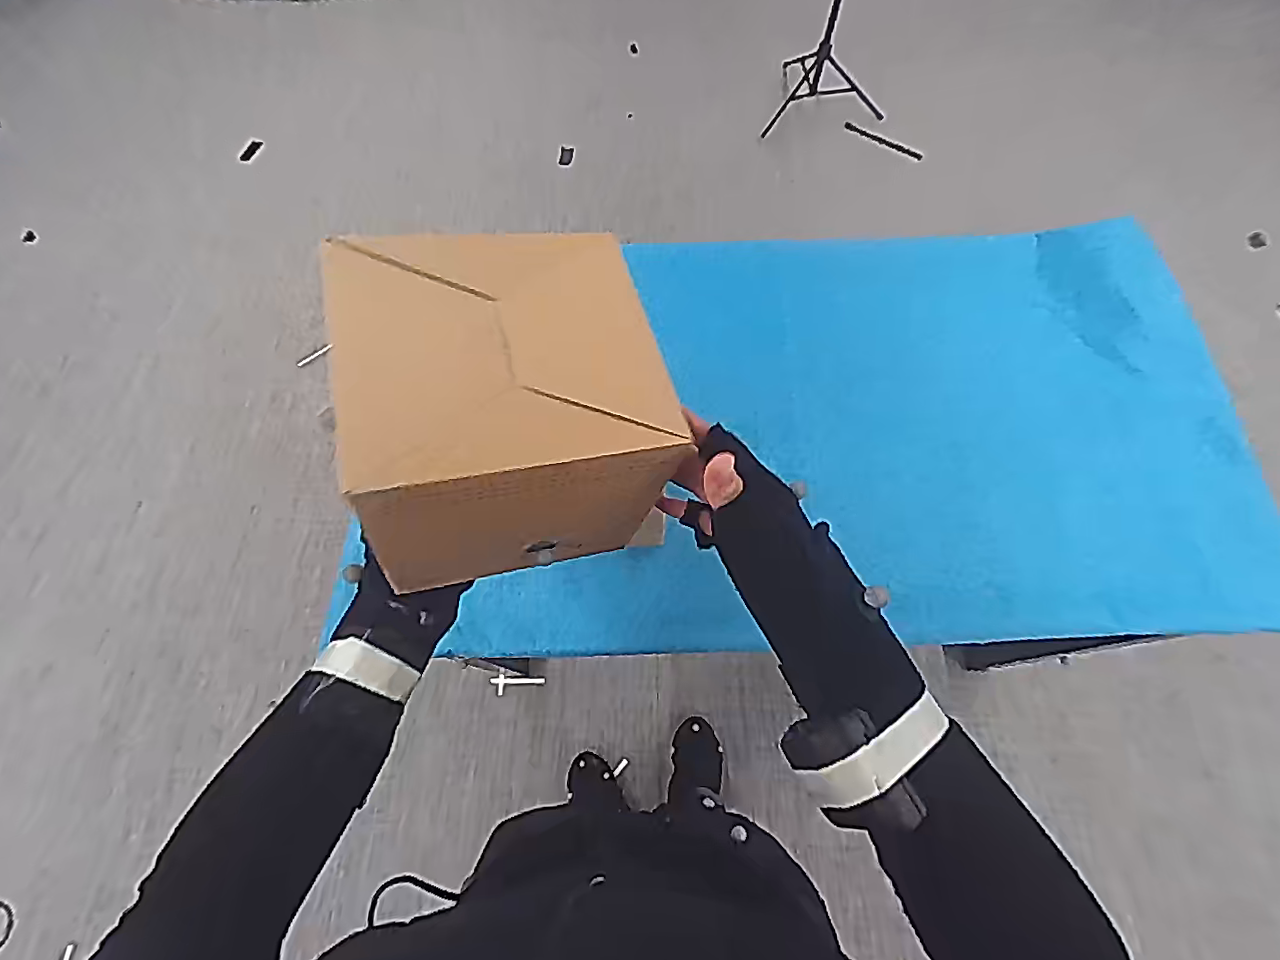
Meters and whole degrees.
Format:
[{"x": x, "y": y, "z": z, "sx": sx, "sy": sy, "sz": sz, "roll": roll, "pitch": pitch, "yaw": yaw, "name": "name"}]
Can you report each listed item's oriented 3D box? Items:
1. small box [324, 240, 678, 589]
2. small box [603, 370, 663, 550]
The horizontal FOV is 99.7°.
[{"x": -0.092, "y": -0.042, "z": 0.370, "sx": 0.179, "sy": 0.176, "sz": 0.168, "roll": -9, "pitch": 66, "yaw": -20, "name": "small box"}, {"x": -0.057, "y": -0.020, "z": 0.677, "sx": 0.168, "sy": 0.176, "sz": 0.179, "roll": 0, "pitch": 68, "yaw": 4, "name": "small box"}]
